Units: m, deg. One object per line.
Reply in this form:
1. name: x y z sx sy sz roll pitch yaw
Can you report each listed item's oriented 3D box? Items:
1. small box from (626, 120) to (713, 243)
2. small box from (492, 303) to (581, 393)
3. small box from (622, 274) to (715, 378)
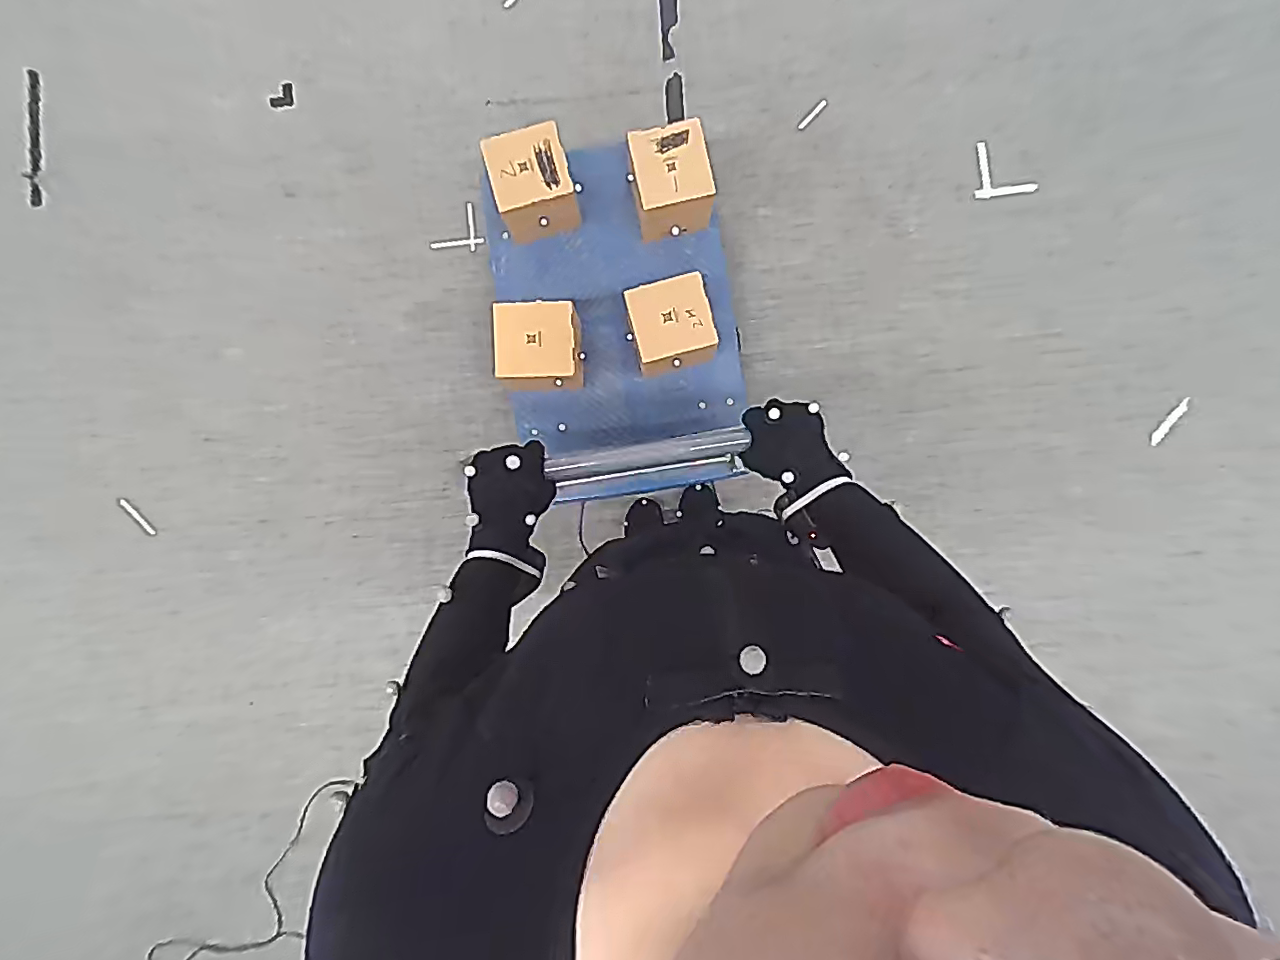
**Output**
1. small box: 0.064 -0.686 1.260 0.168 0.176 0.179 -13 90 1
2. small box: -0.235 -0.300 1.259 0.179 0.176 0.168 -3 89 -1
3. small box: 0.065 -0.348 1.255 0.179 0.176 0.168 -15 89 1
